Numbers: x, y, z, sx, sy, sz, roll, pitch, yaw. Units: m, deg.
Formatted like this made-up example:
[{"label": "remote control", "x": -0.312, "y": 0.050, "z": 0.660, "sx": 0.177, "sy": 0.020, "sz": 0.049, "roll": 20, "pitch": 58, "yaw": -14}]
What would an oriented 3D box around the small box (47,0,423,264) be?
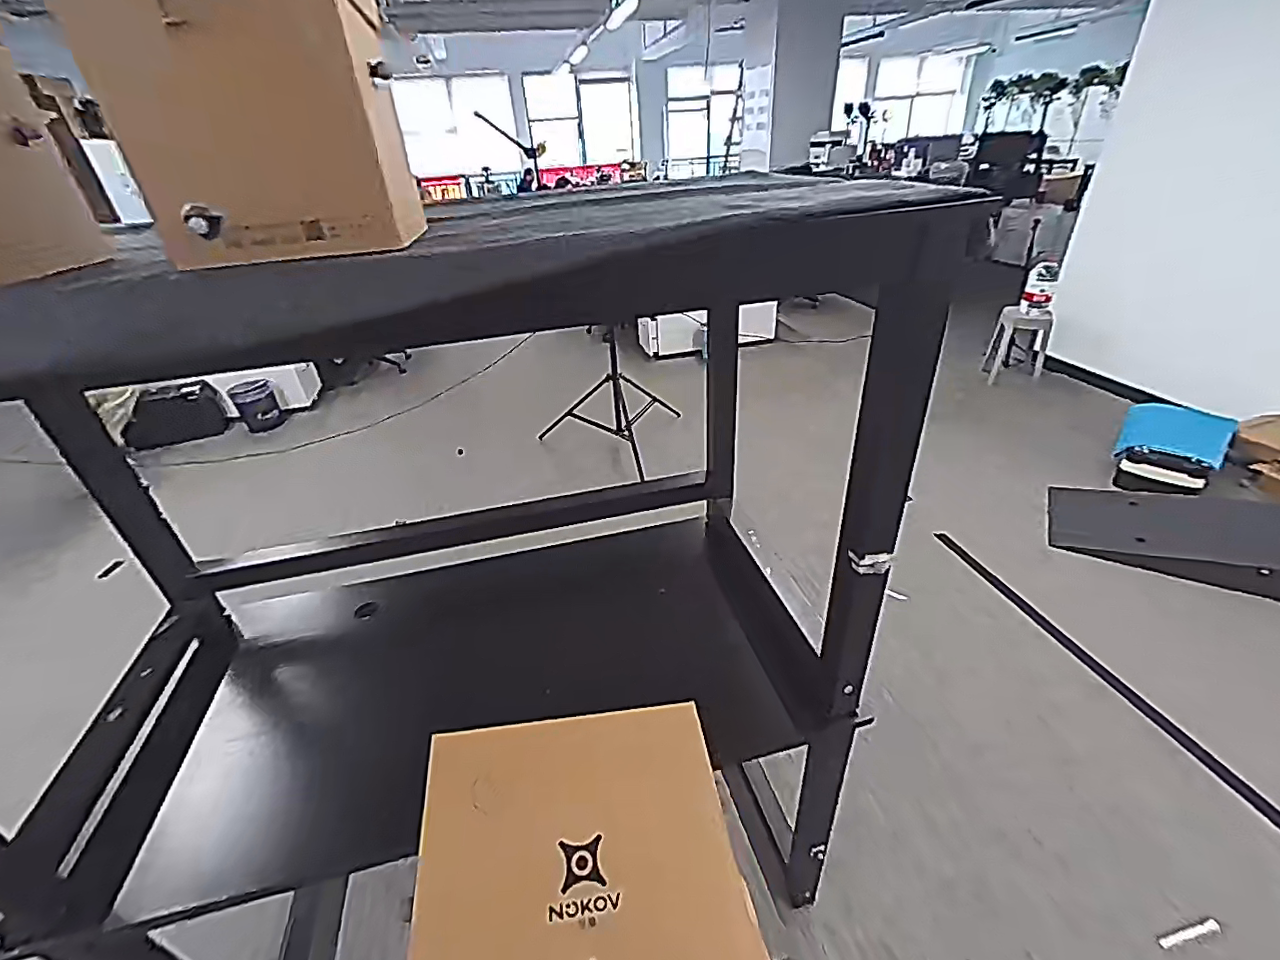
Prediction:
[{"label": "small box", "x": -0.291, "y": -0.280, "z": 0.446, "sx": 0.168, "sy": 0.176, "sz": 0.179, "roll": -10, "pitch": 30, "yaw": -10}]
